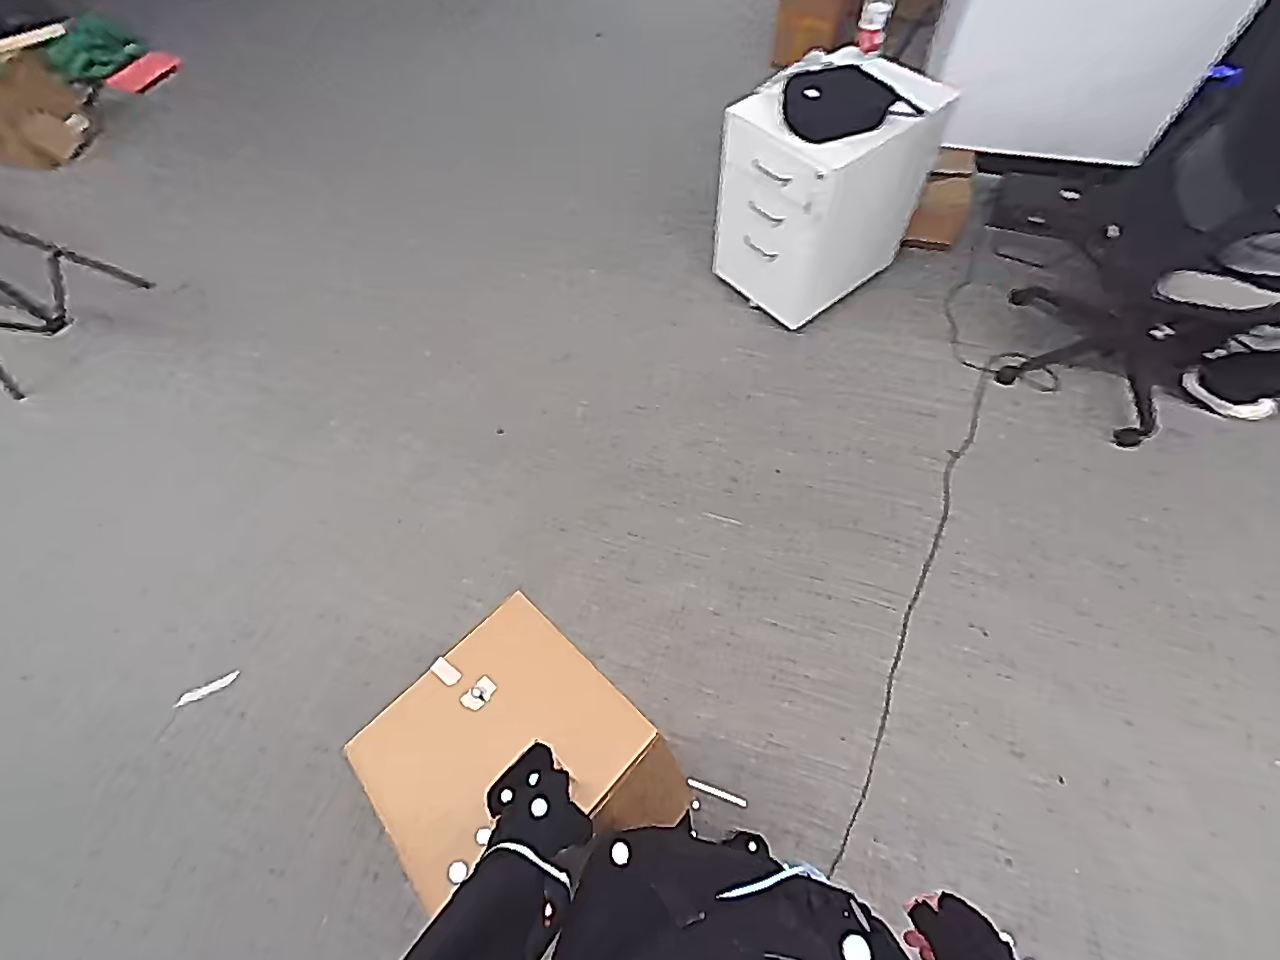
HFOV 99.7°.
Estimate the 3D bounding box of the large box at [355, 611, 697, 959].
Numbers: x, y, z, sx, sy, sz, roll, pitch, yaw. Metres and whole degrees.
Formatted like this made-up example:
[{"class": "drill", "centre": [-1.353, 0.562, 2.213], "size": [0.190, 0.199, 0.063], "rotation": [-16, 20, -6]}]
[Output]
[{"class": "large box", "centre": [-0.145, 0.478, 0.848], "size": [0.320, 0.408, 0.320], "rotation": [-42, 54, -20]}]
